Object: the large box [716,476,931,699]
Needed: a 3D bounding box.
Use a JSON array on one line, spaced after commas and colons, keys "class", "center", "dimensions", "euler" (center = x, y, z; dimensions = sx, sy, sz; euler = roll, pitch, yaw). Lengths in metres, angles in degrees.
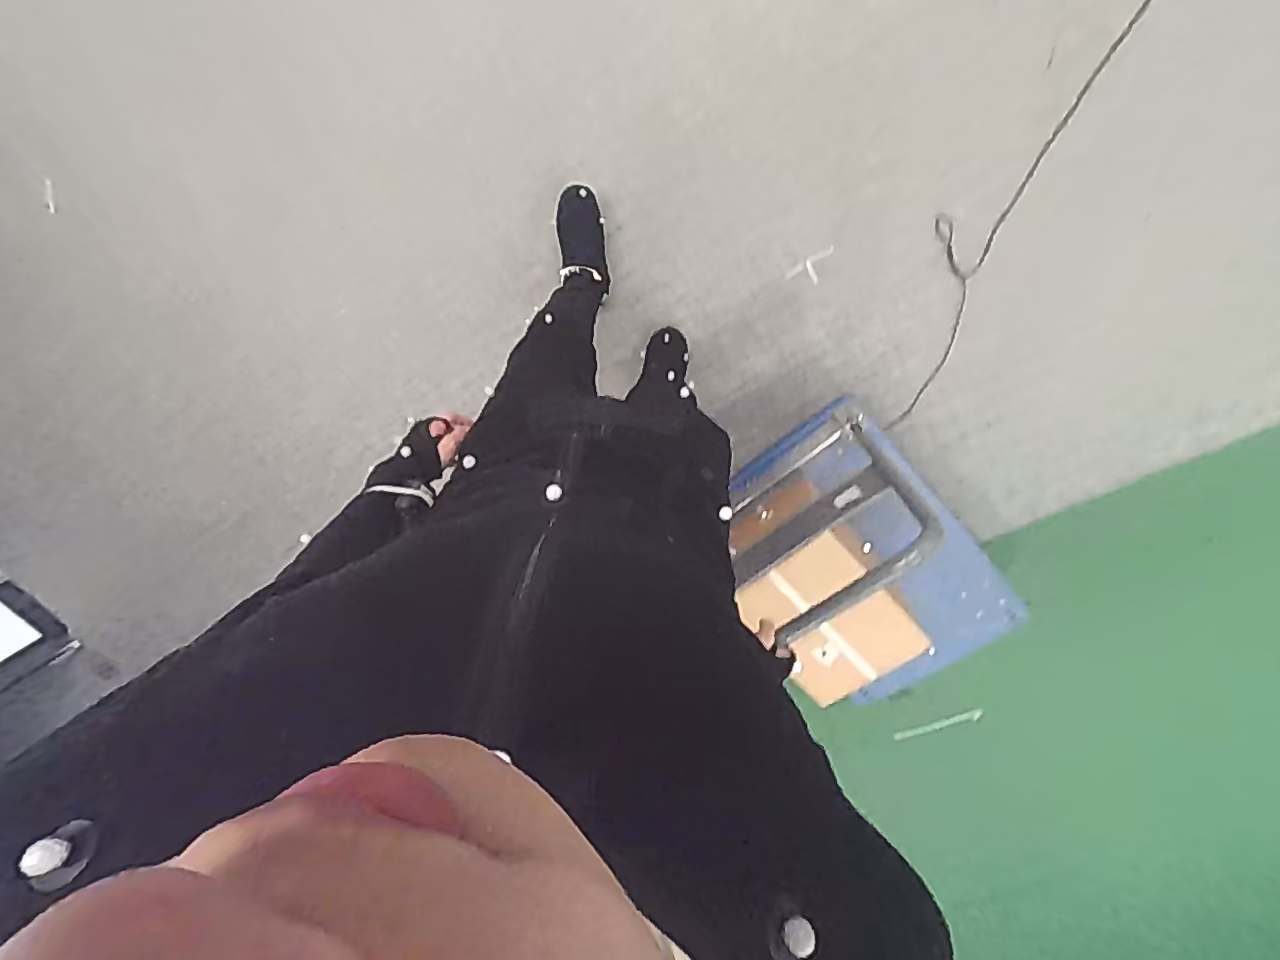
[{"class": "large box", "center": [0.445, 0.266, 1.396], "dimensions": [0.320, 0.320, 0.408], "euler": [-40, 105, 21]}]
